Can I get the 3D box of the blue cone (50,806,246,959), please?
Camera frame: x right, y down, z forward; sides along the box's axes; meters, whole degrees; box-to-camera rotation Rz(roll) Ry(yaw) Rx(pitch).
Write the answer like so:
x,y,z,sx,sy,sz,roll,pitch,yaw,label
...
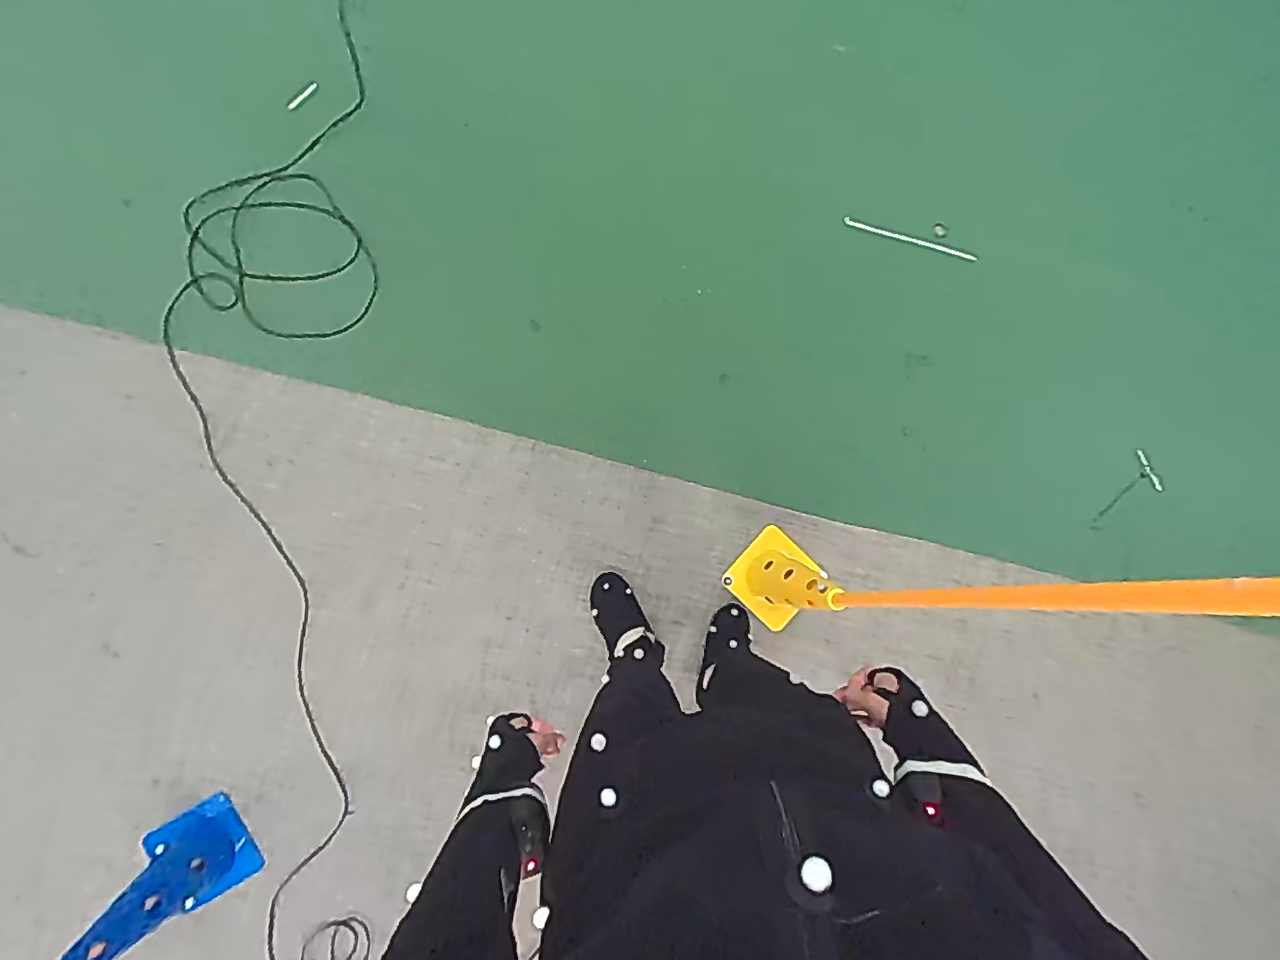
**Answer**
x,y,z,sx,sy,sz,roll,pitch,yaw,label
-0.962,0.827,1.009,0.193,0.380,0.192,-31,91,-4,blue cone
